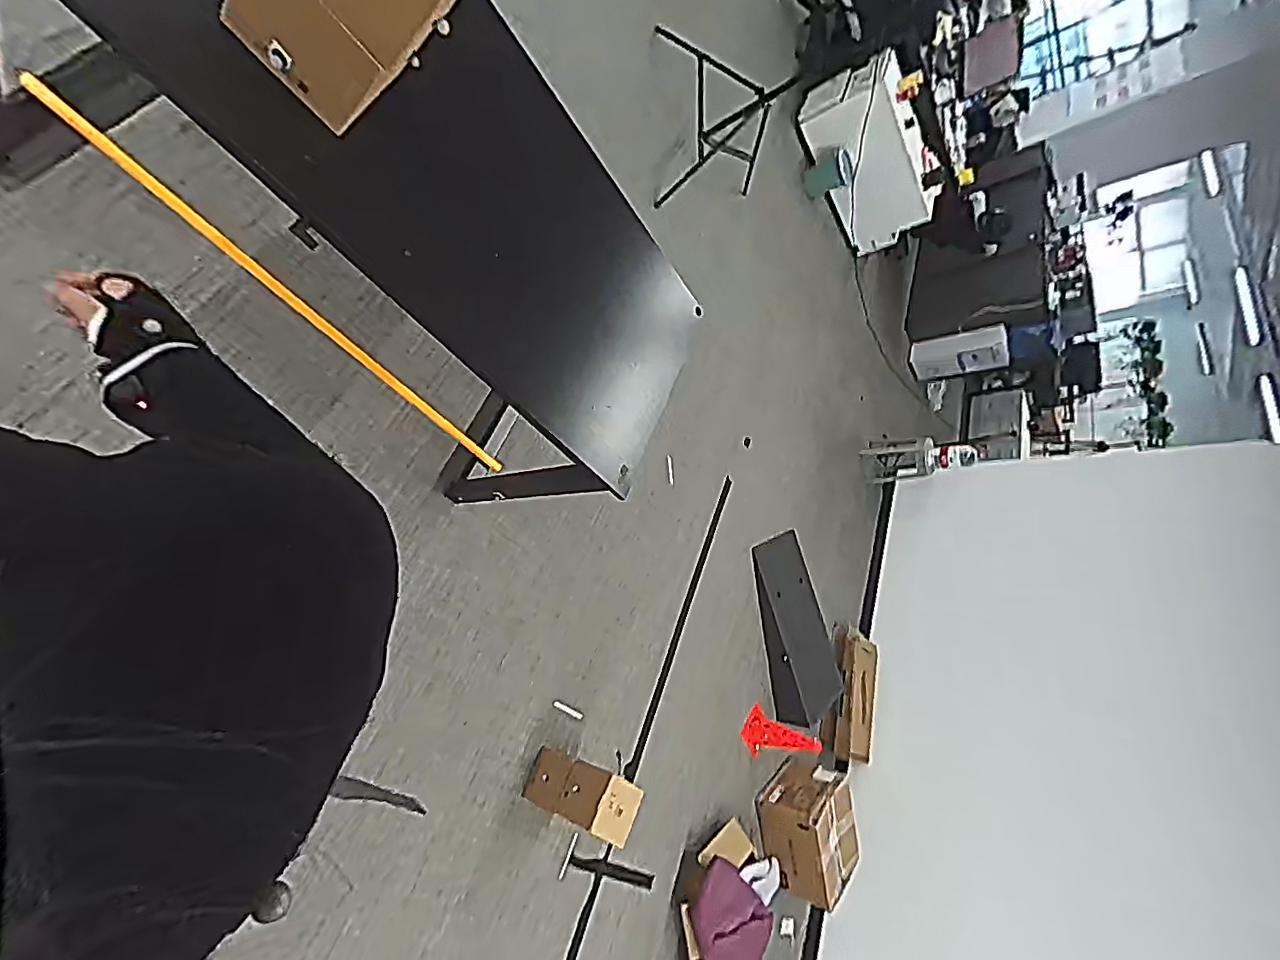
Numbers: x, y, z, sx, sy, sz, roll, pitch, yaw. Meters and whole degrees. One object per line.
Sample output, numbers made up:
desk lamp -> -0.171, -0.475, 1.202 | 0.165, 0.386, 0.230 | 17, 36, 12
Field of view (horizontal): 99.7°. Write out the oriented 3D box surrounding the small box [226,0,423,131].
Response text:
small box -> -0.407, -0.622, 0.720 | 0.168, 0.176, 0.179 | 40, 59, -37

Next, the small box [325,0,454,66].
small box -> -0.287, -0.631, 0.607 | 0.179, 0.176, 0.168 | 40, 58, -38

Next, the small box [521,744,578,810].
small box -> -0.264, 1.004, 1.807 | 0.179, 0.176, 0.168 | 44, 56, -35

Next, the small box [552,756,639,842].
small box -> -0.140, 0.996, 1.697 | 0.179, 0.176, 0.168 | 50, 52, -32
